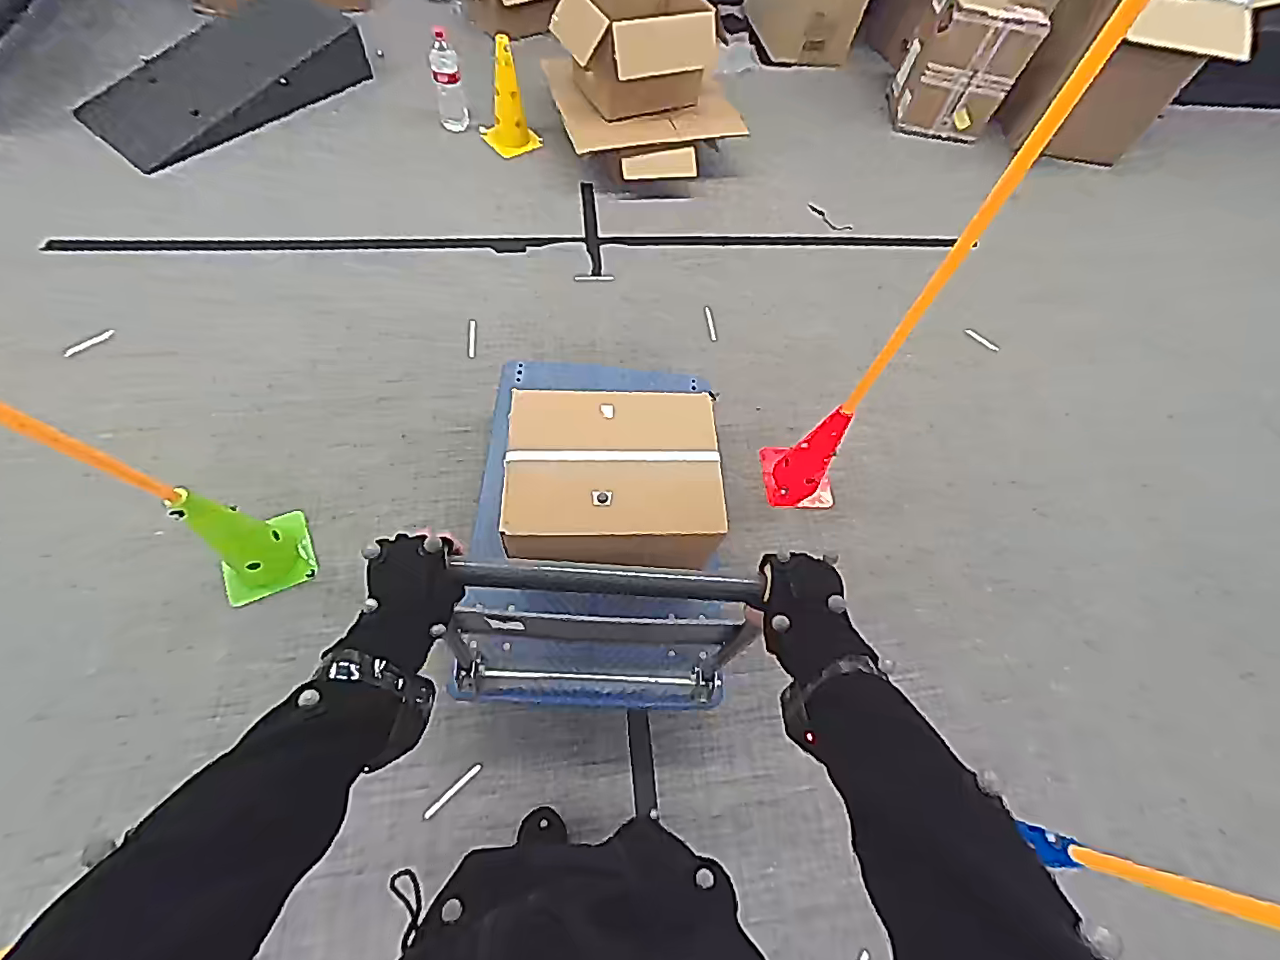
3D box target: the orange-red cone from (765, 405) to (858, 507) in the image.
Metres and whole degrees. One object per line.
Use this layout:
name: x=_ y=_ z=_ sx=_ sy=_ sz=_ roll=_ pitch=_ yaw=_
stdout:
orange-red cone: x=0.493 y=-0.089 z=1.465 sx=0.199 sy=0.360 sz=0.198 roll=3 pitch=63 yaw=-6
